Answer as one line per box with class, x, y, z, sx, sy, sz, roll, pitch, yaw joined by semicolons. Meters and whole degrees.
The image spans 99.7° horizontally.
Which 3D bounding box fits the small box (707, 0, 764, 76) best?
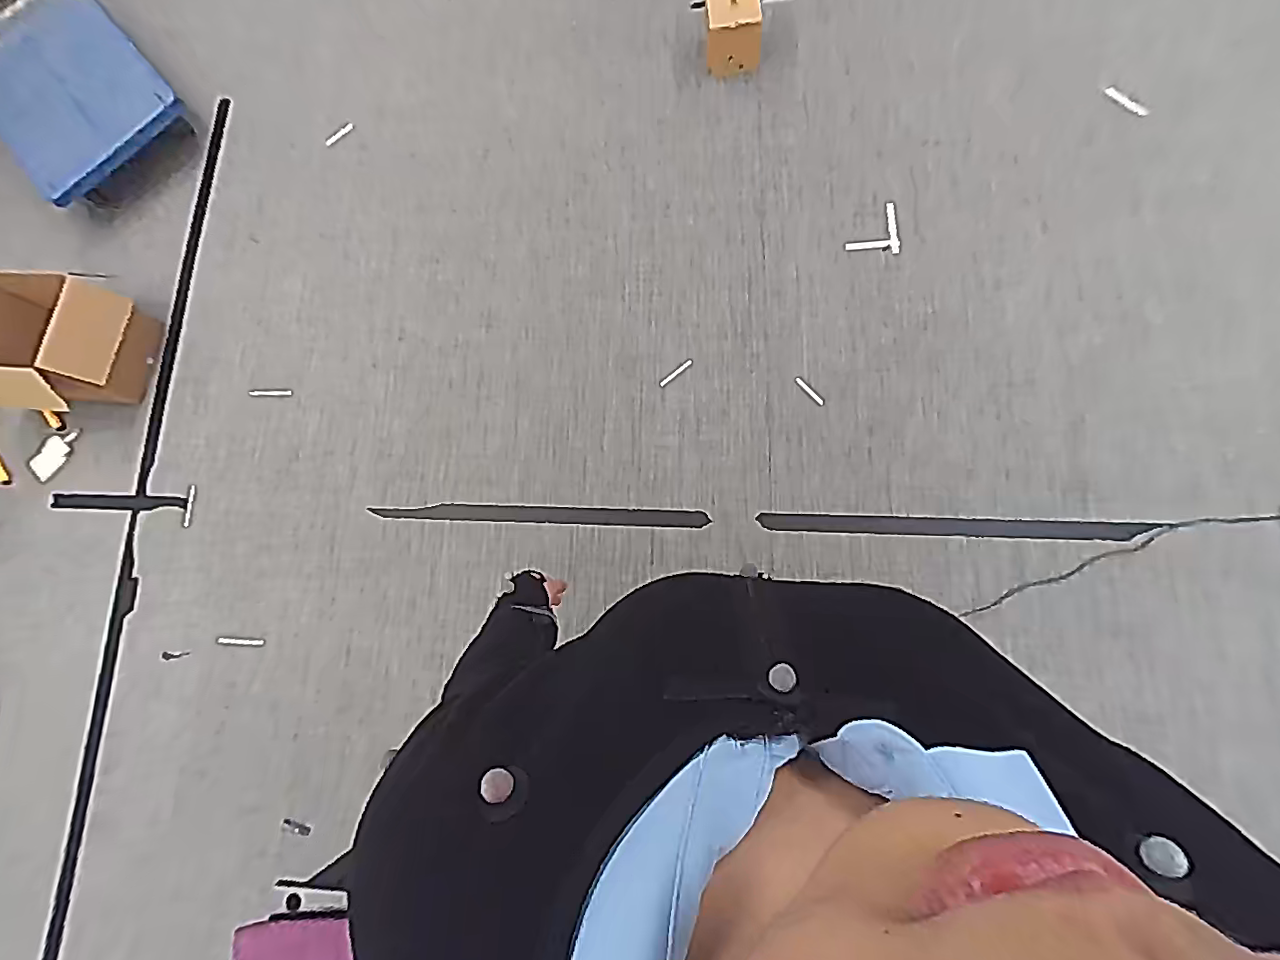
small box;0.308;-1.478;1.768;0.168;0.176;0.179;-5;78;7
